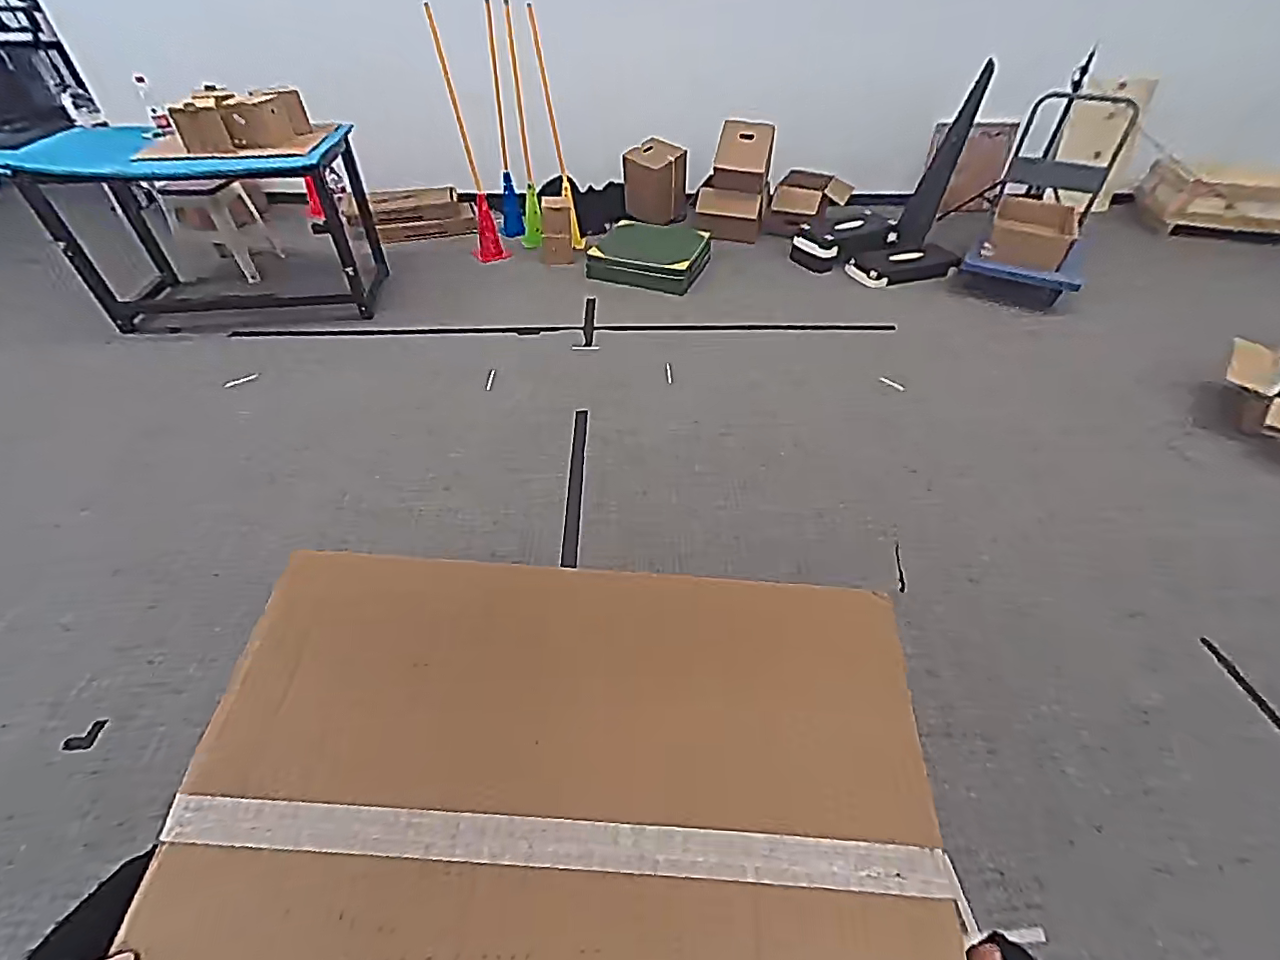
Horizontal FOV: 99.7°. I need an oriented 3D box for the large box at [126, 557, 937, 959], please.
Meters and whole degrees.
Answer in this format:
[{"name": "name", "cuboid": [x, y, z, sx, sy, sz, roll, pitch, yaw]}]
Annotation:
[{"name": "large box", "cuboid": [-0.051, 0.275, 0.418, 0.408, 0.320, 0.320, 4, 57, 1]}]
